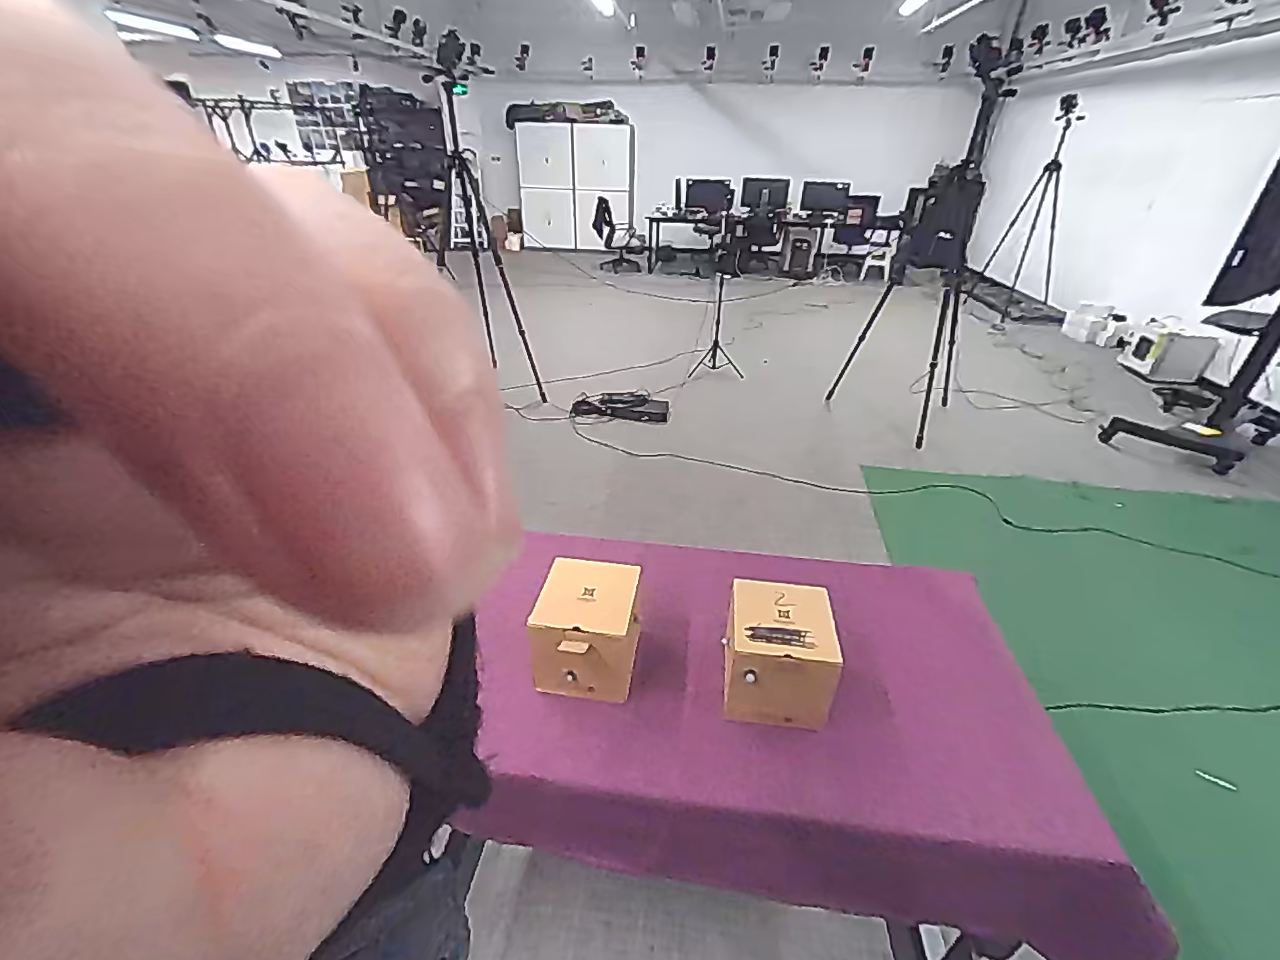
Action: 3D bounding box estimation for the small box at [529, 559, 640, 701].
[{"bbox_3d":[-0.096,0.274,1.000,0.168,0.176,0.179,5,32,7],"label":"small box"}]
